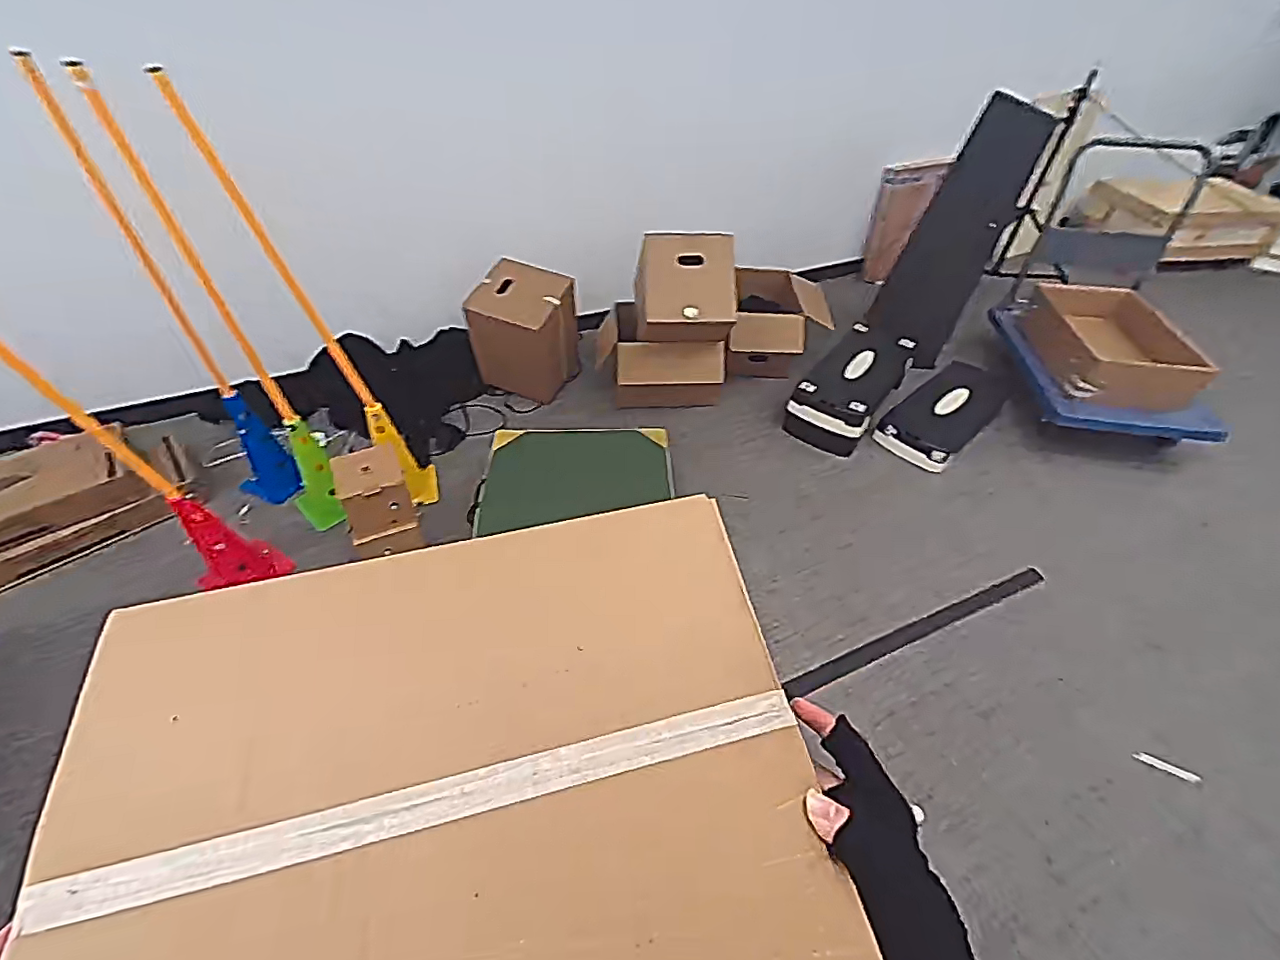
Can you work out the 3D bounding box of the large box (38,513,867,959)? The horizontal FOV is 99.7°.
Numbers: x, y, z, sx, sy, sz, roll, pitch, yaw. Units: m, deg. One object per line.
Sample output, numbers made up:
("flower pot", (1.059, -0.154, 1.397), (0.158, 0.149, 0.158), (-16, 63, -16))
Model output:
("large box", (-0.107, 0.266, 0.428), (0.408, 0.320, 0.320), (-11, 56, -8))
